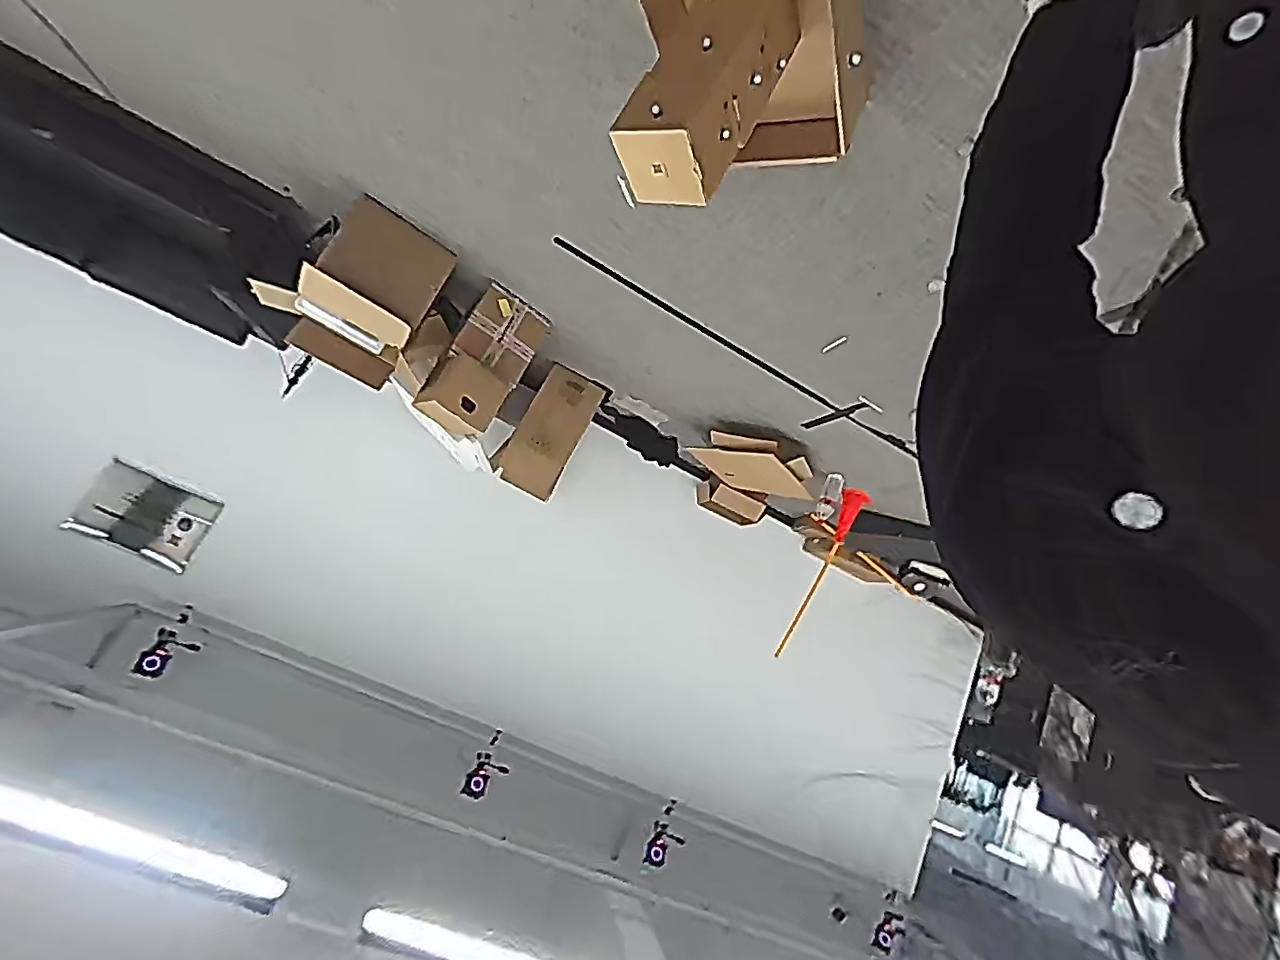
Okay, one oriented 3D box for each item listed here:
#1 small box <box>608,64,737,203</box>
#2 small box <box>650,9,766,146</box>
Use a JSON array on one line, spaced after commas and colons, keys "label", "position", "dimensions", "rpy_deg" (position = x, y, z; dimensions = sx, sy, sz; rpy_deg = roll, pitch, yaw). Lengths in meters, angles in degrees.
[{"label": "small box", "position": [0.071, -0.684, 1.074], "dimensions": [0.179, 0.176, 0.168], "rpy_deg": [19, 165, 28]}, {"label": "small box", "position": [0.149, -0.822, 1.113], "dimensions": [0.179, 0.176, 0.168], "rpy_deg": [18, 164, 27]}]
